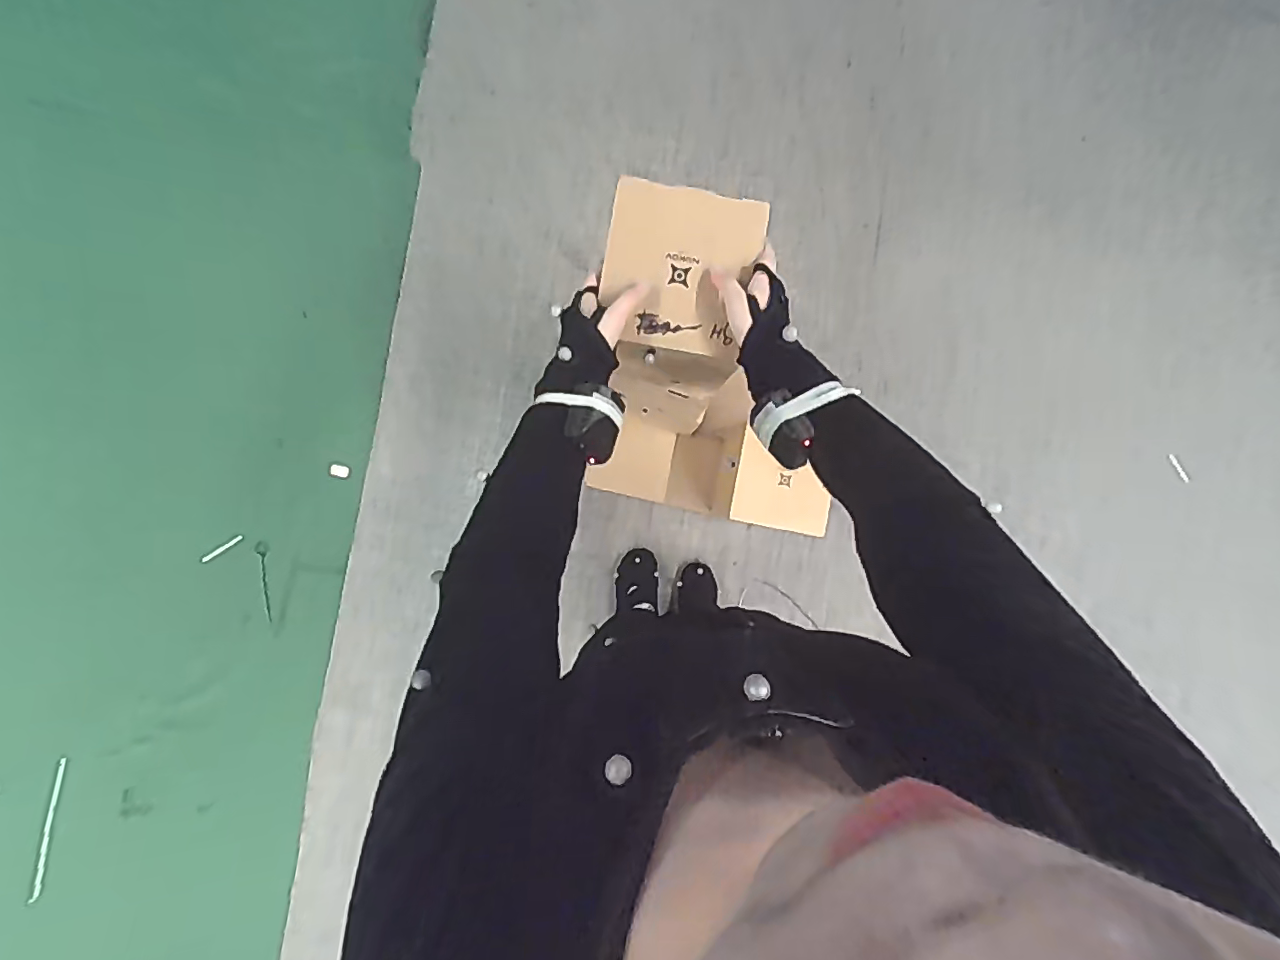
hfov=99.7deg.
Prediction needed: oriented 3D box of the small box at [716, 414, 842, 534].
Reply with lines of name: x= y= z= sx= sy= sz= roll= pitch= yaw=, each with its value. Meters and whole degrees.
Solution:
small box: x=0.241 y=-0.007 z=0.977 sx=0.168 sy=0.176 sz=0.179 roll=11 pitch=87 yaw=-1

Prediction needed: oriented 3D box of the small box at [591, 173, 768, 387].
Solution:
small box: x=0.040 y=-0.223 z=0.648 sx=0.168 sy=0.176 sz=0.179 roll=10 pitch=89 yaw=0

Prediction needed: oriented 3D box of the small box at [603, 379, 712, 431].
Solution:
small box: x=0.043 y=-0.198 z=0.982 sx=0.179 sy=0.176 sz=0.168 roll=19 pitch=87 yaw=-2

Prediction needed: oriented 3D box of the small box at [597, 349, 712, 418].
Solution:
small box: x=0.045 y=-0.209 z=0.818 sx=0.168 sy=0.176 sz=0.179 roll=21 pitch=85 yaw=-1
